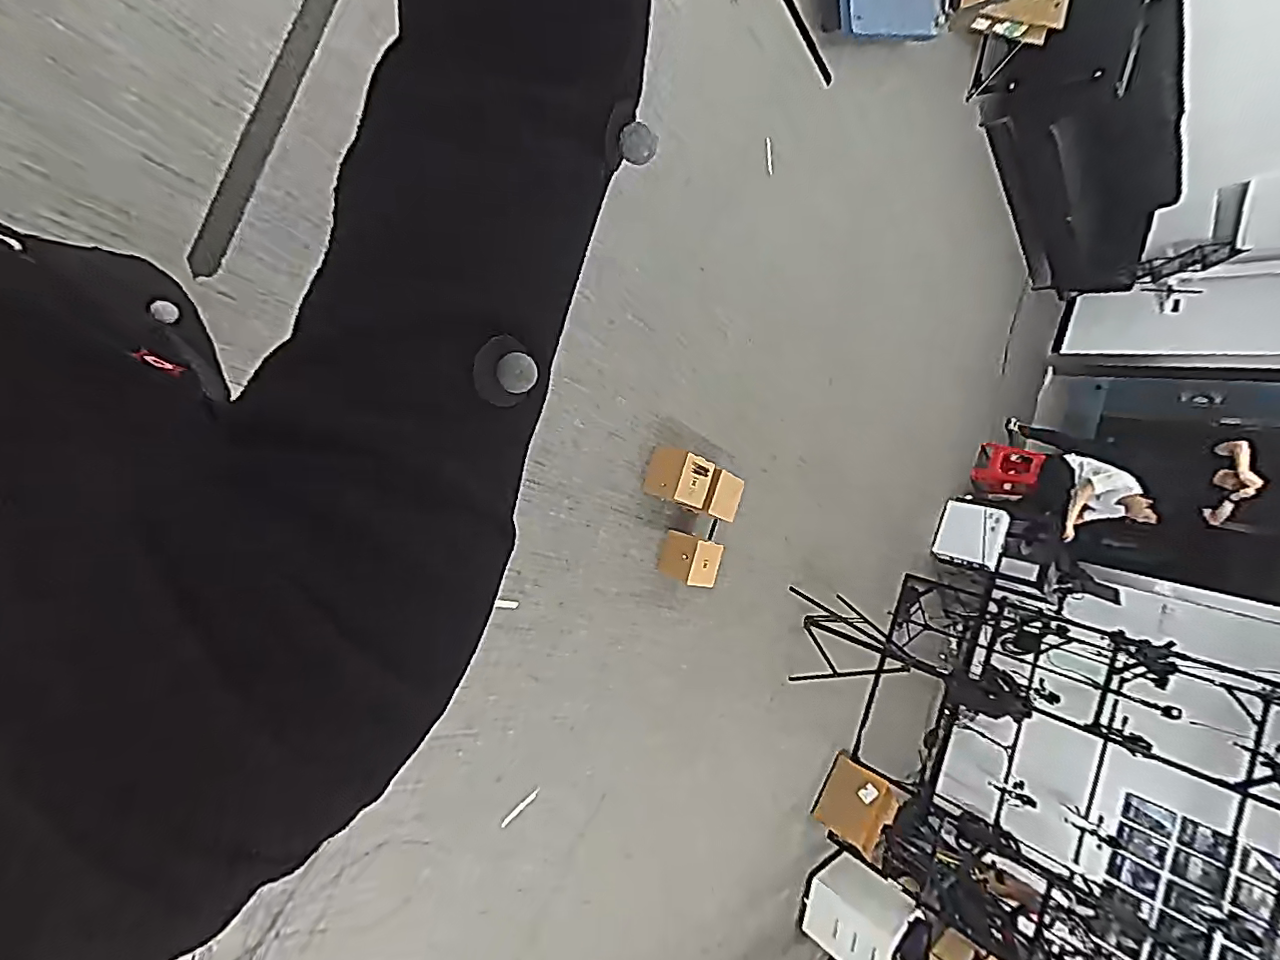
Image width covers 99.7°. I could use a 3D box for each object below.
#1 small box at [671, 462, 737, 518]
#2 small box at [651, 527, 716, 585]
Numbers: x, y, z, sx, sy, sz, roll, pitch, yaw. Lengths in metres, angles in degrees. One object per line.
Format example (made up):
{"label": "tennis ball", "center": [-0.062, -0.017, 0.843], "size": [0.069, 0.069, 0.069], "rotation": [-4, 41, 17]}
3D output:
{"label": "small box", "center": [0.256, 0.043, 2.141], "size": [0.168, 0.176, 0.179], "rotation": [24, 84, -45]}
{"label": "small box", "center": [0.168, 0.298, 2.128], "size": [0.168, 0.176, 0.179], "rotation": [17, 88, -45]}
